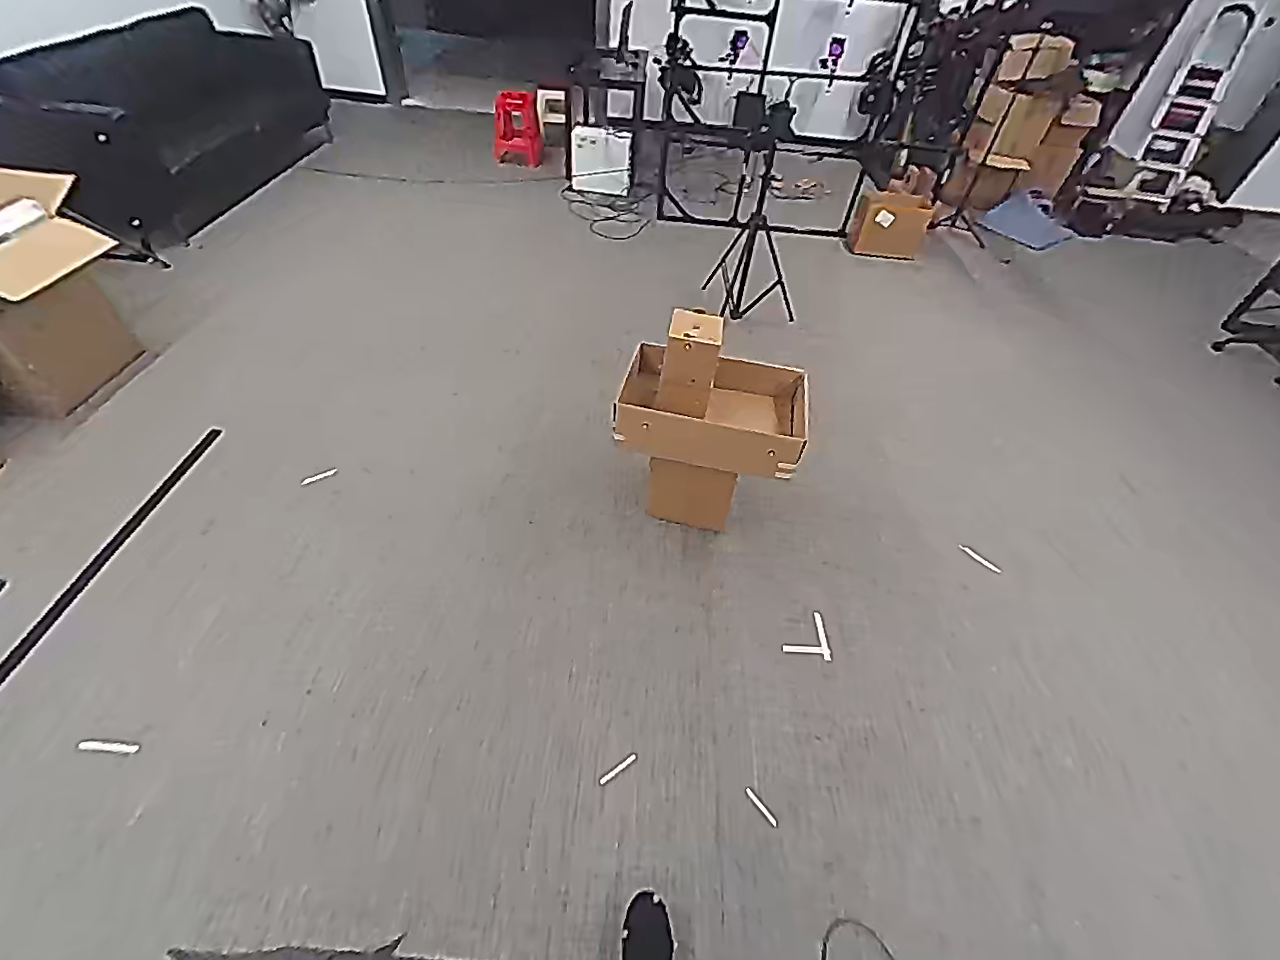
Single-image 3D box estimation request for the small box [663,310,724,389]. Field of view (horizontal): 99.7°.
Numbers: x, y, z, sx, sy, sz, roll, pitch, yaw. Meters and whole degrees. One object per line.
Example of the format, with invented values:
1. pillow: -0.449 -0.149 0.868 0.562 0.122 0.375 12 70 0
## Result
1. small box: 0.172 -0.423 1.754 0.168 0.176 0.179 11 46 2
